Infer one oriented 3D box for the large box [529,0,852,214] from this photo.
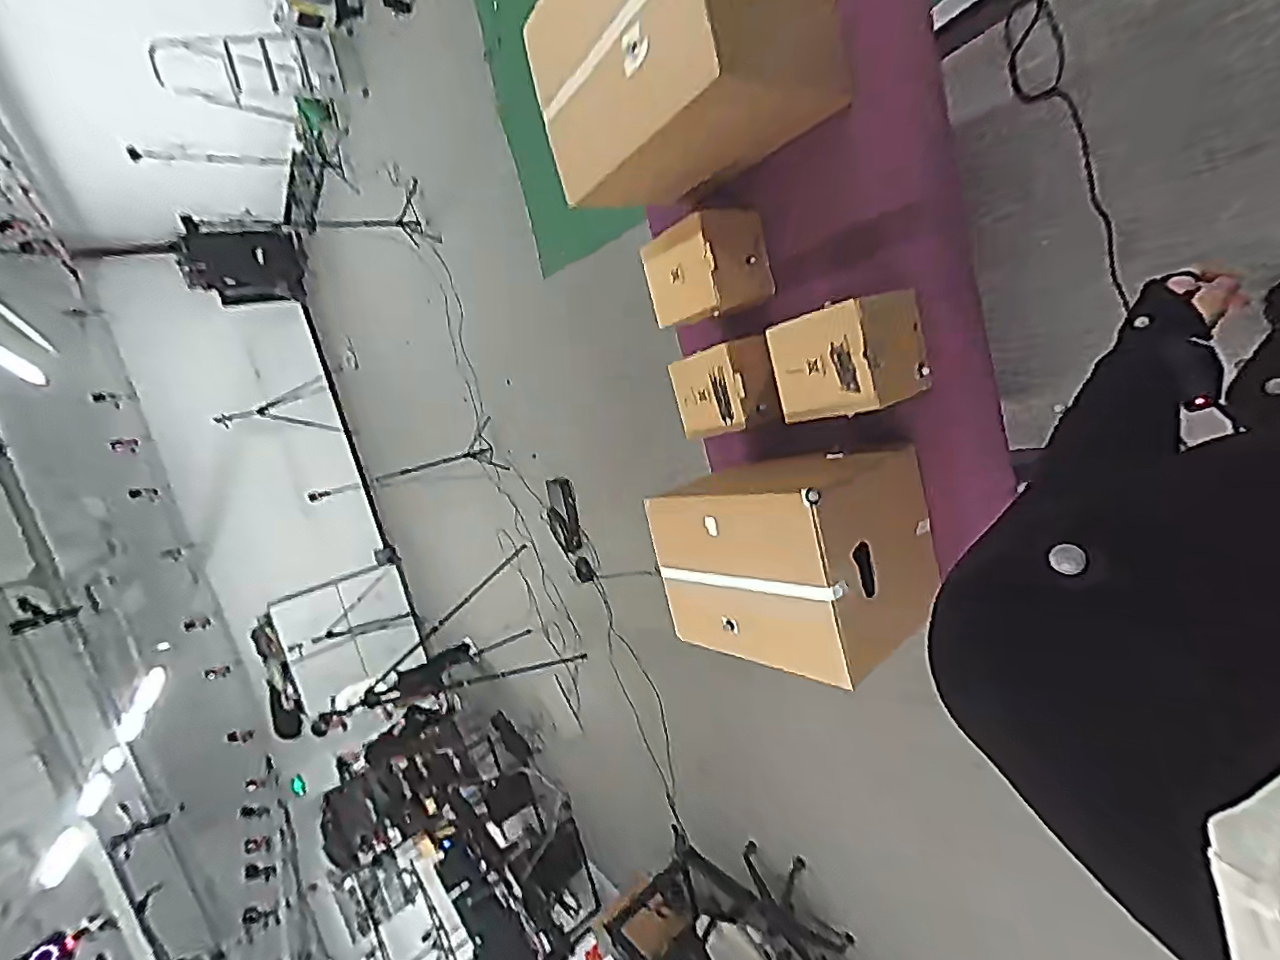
[{"bbox_3d":[0.071,-0.687,0.905,0.408,0.320,0.320,-4,104,53],"label":"large box"}]
